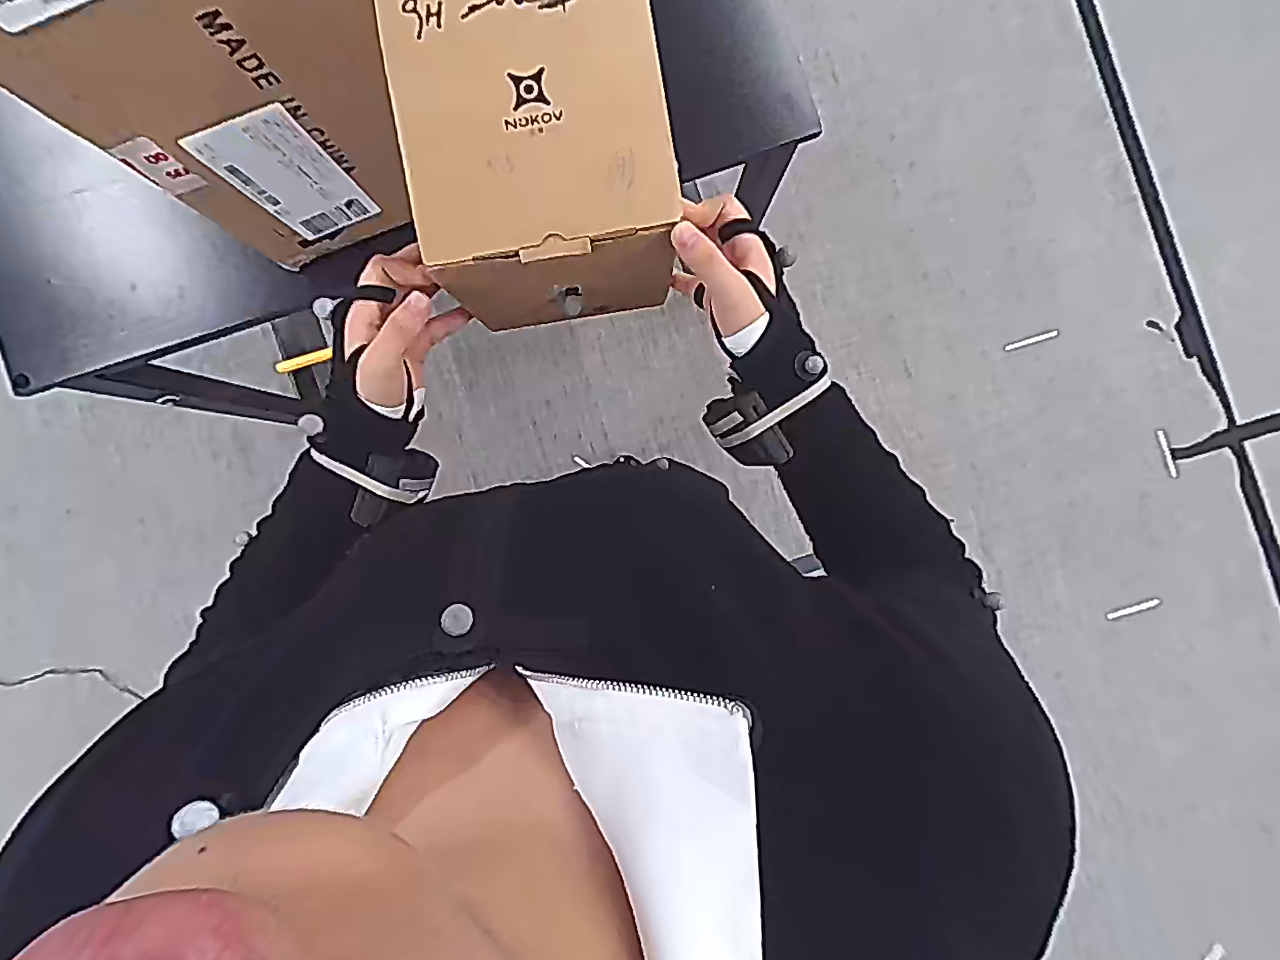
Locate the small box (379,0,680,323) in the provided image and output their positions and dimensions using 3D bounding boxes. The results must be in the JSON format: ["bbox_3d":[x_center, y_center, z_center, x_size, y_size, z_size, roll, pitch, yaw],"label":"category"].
[{"bbox_3d":[-0.066,-0.228,0.412,0.168,0.176,0.179,-9,93,0],"label":"small box"}]
